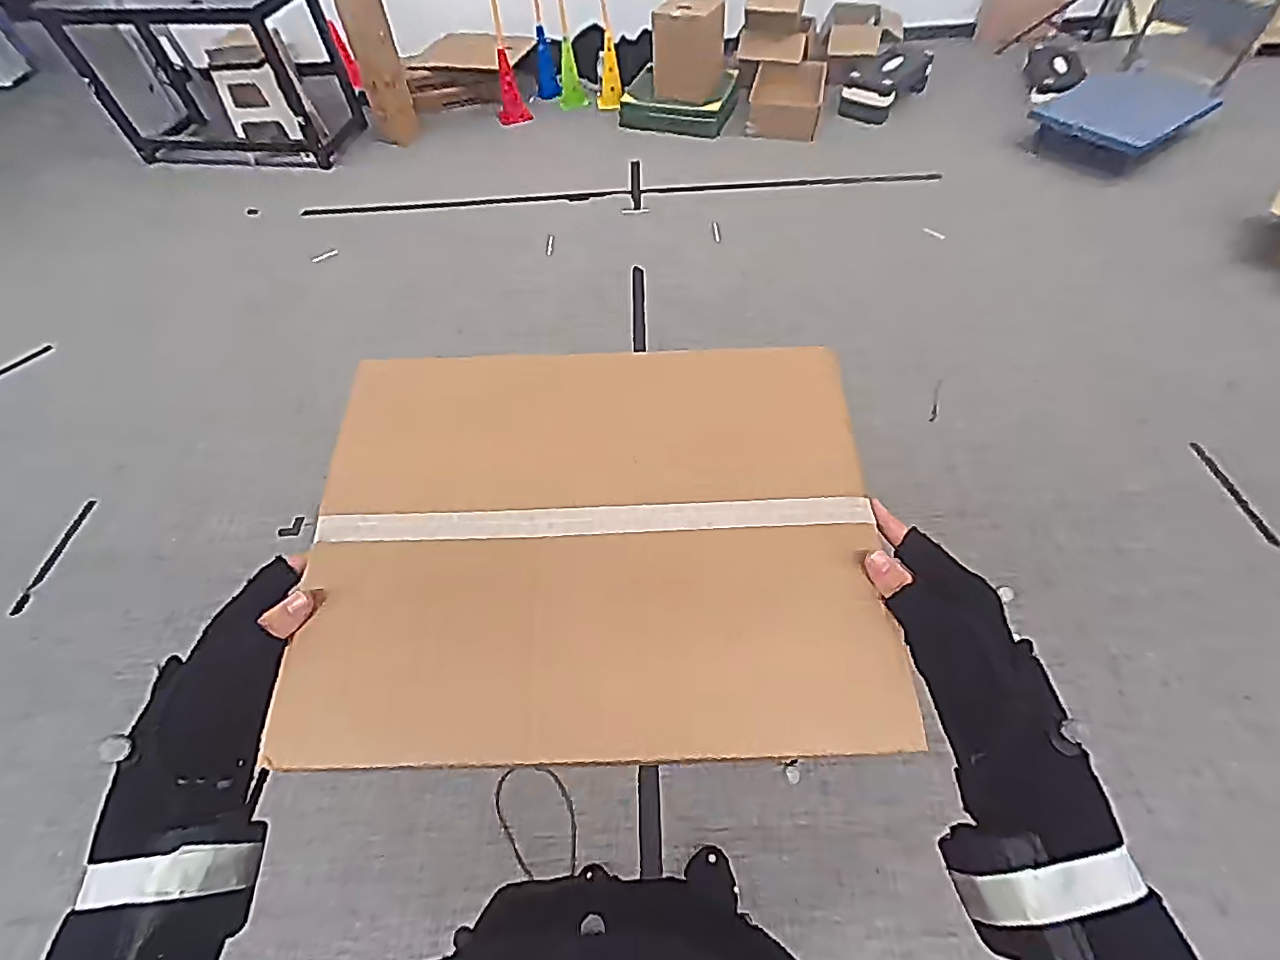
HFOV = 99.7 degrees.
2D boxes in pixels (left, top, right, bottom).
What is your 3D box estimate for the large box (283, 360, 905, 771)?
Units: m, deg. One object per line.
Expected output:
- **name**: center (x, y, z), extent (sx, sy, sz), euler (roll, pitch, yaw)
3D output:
- **large box**: center (-0.029, 0.103, 0.539), extent (0.408, 0.320, 0.320), euler (-1, 62, 0)
